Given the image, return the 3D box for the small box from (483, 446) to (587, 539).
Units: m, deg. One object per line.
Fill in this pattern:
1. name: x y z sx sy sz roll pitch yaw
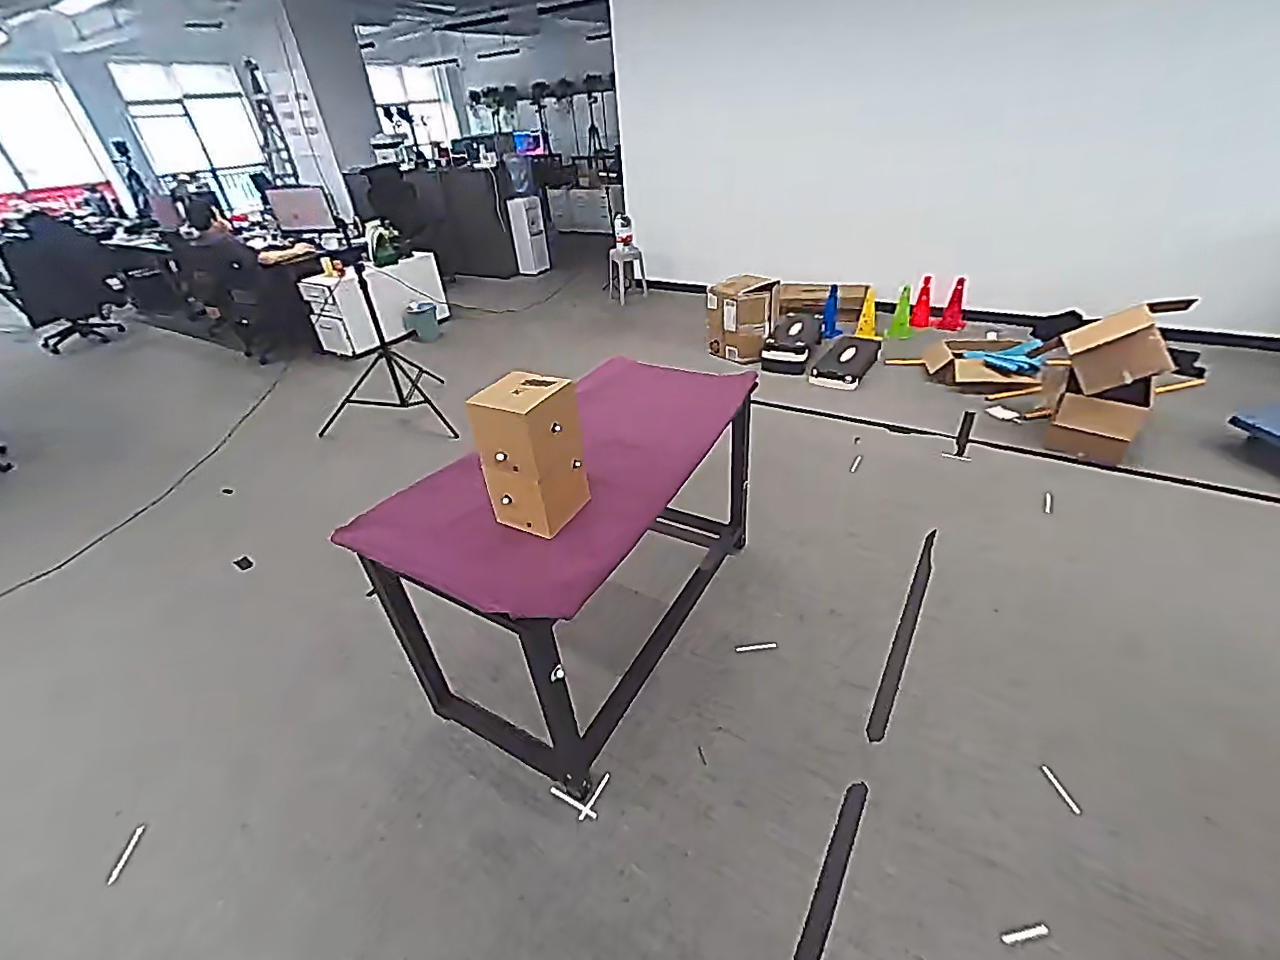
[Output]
1. small box: -0.243 0.018 1.308 0.168 0.176 0.179 13 38 25

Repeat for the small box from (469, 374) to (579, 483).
1. small box: -0.250 -0.118 1.215 0.168 0.176 0.179 13 38 25
